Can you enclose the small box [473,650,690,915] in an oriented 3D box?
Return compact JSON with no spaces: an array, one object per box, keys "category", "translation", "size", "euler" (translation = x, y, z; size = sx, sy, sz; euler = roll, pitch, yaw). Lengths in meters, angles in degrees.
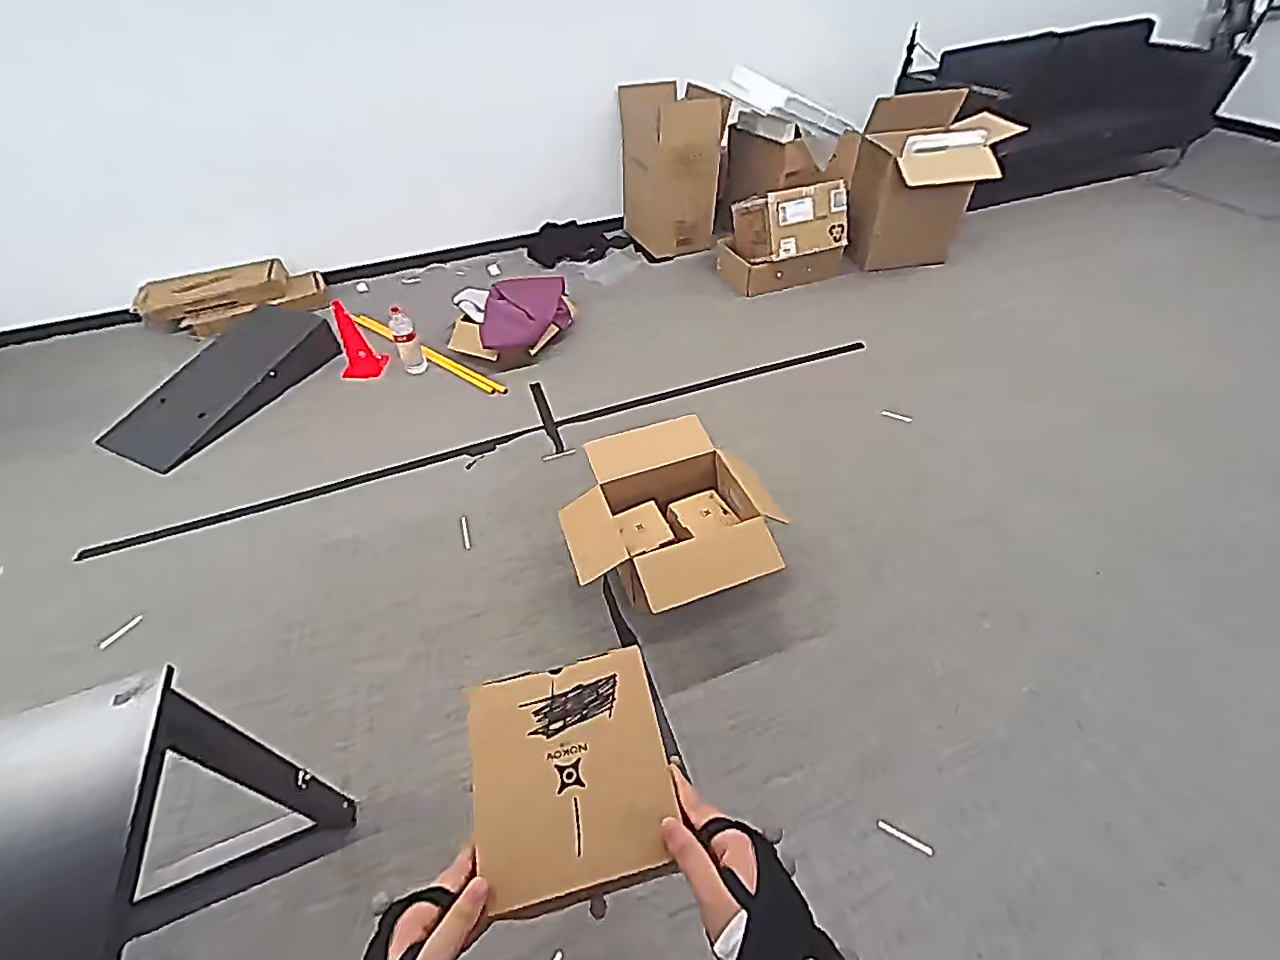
[{"category":"small box","translation":[-0.056,0.296,0.527],"size":[0.168,0.176,0.179],"euler":[-13,52,-6]}]
